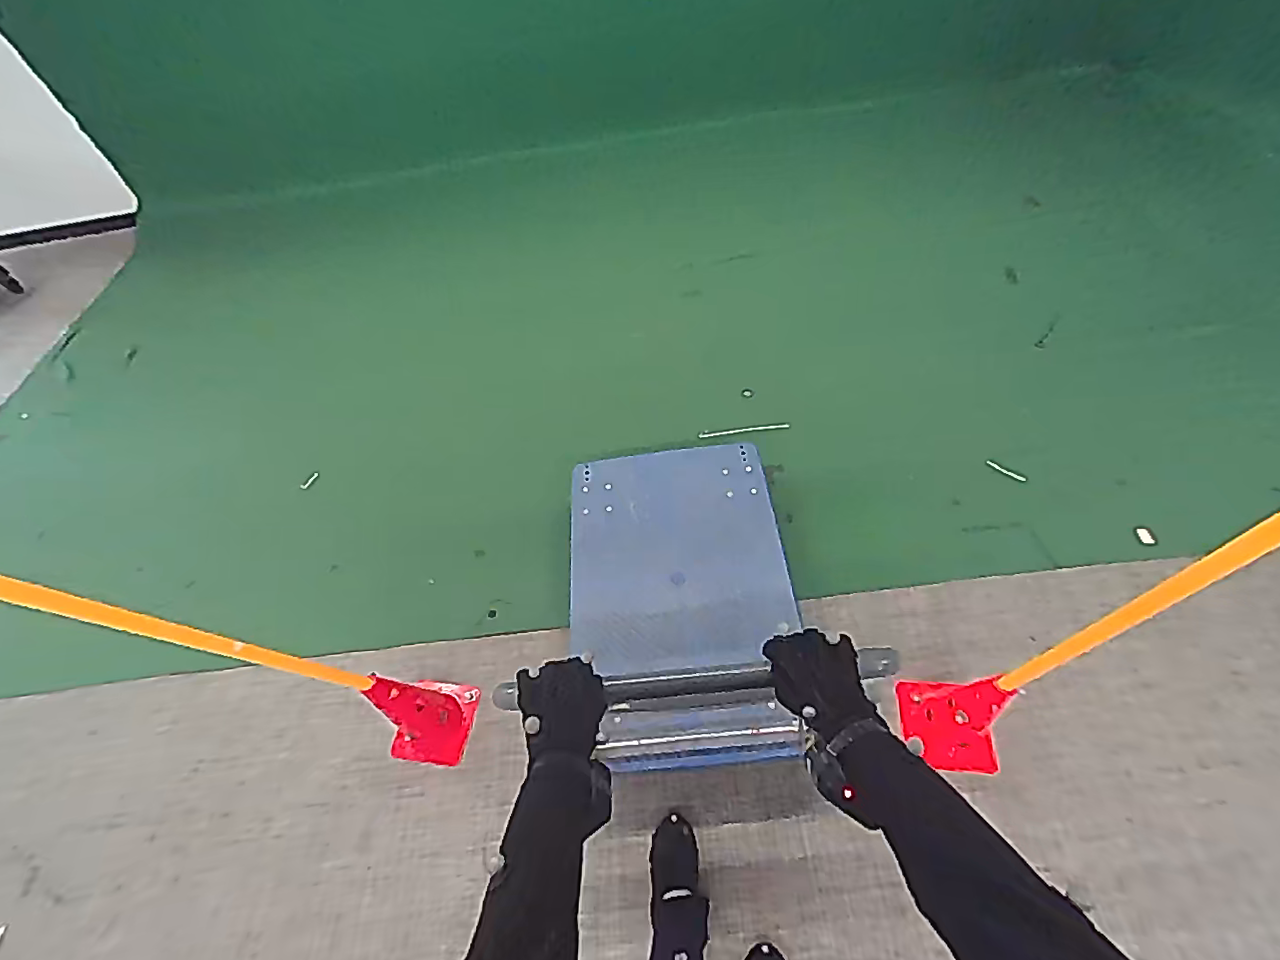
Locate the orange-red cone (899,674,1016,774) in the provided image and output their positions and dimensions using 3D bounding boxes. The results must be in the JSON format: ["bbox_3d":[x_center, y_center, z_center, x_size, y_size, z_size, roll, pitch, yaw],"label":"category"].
[{"bbox_3d":[0.715,0.490,1.161,0.198,0.360,0.199,1,55,10],"label":"orange-red cone"}]
